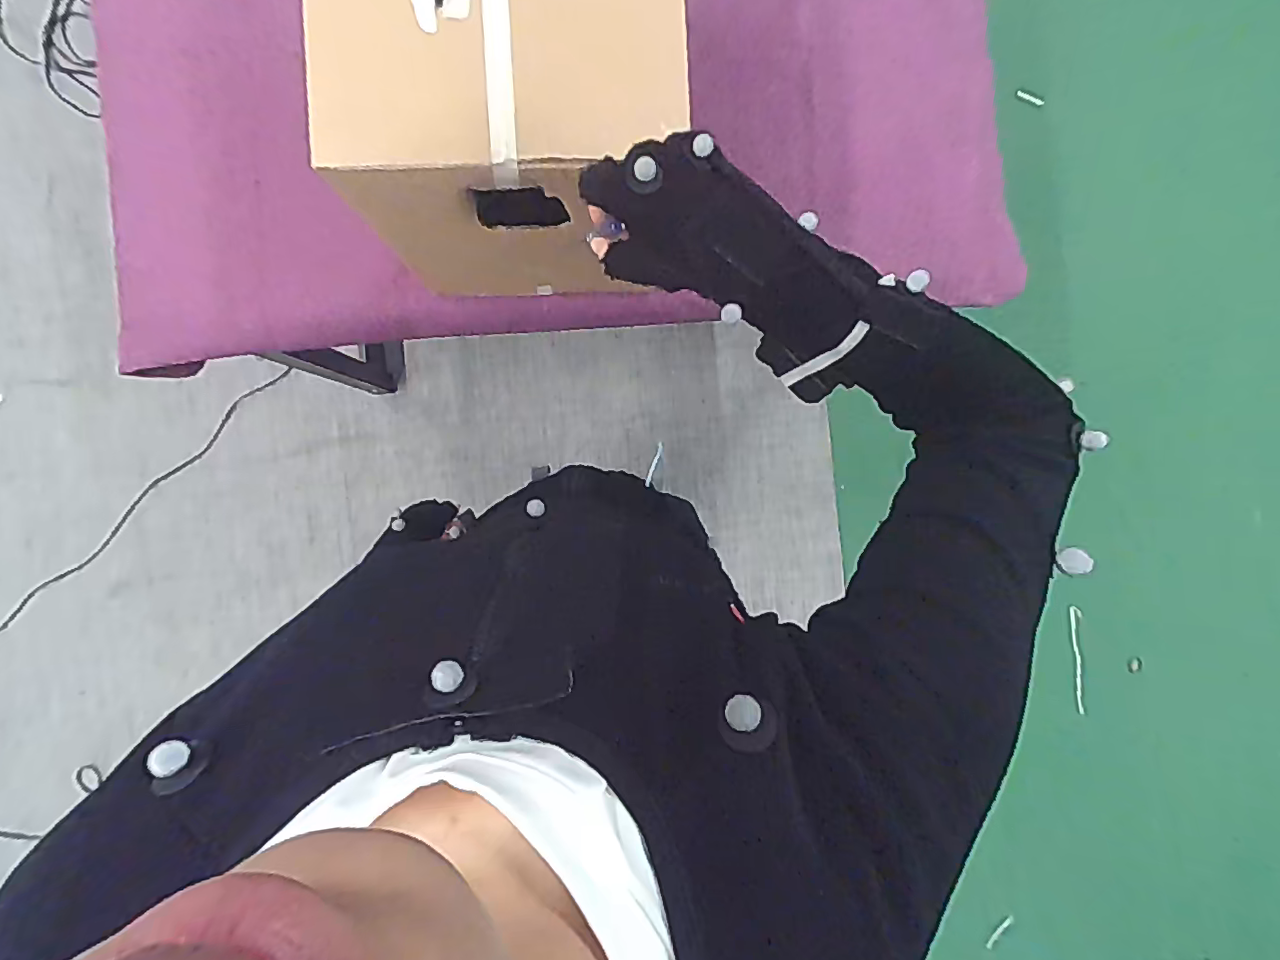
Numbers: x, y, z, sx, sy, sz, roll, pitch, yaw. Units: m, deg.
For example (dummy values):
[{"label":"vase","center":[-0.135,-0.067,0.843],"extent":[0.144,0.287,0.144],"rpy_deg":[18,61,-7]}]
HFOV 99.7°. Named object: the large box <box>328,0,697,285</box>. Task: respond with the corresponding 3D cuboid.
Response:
[{"label":"large box","center":[-0.123,-0.470,0.608],"extent":[0.320,0.320,0.408],"rpy_deg":[-2,91,-3]}]
